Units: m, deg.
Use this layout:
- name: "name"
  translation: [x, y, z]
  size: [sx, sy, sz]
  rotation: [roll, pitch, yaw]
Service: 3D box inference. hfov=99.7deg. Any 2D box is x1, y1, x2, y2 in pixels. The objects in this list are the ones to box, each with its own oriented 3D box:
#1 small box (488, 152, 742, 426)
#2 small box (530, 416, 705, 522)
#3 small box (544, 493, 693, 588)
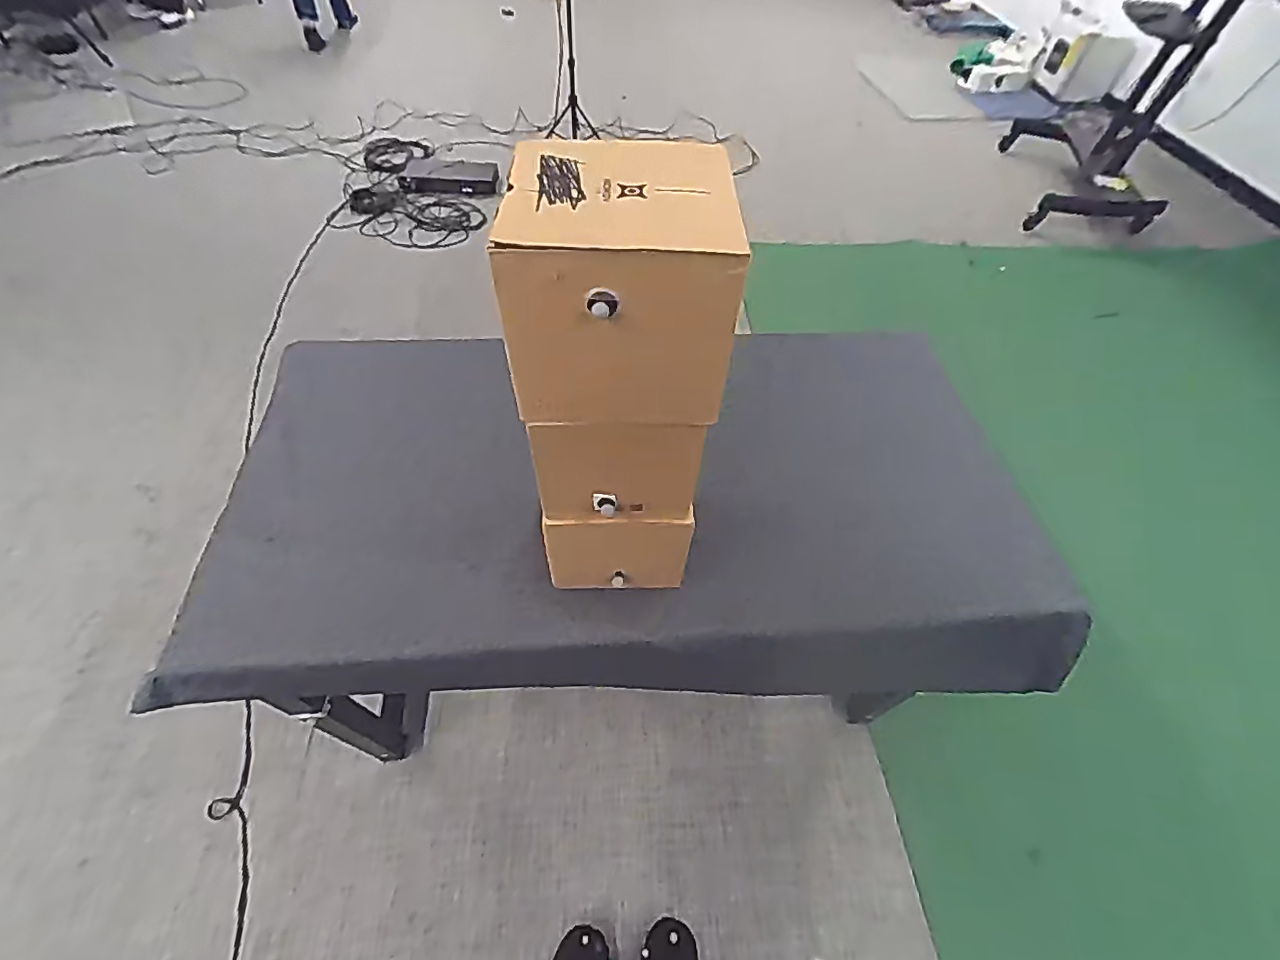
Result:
- name: "small box"
  translation: [-0.019, -0.162, 0.475]
  size: [0.179, 0.176, 0.168]
  rotation: [1, 53, -2]
- name: "small box"
  translation: [-0.027, -0.069, 0.610]
  size: [0.168, 0.176, 0.179]
  rotation: [-2, 54, -3]
- name: "small box"
  translation: [-0.032, 0.037, 0.734]
  size: [0.179, 0.176, 0.168]
  rotation: [0, 53, -4]
